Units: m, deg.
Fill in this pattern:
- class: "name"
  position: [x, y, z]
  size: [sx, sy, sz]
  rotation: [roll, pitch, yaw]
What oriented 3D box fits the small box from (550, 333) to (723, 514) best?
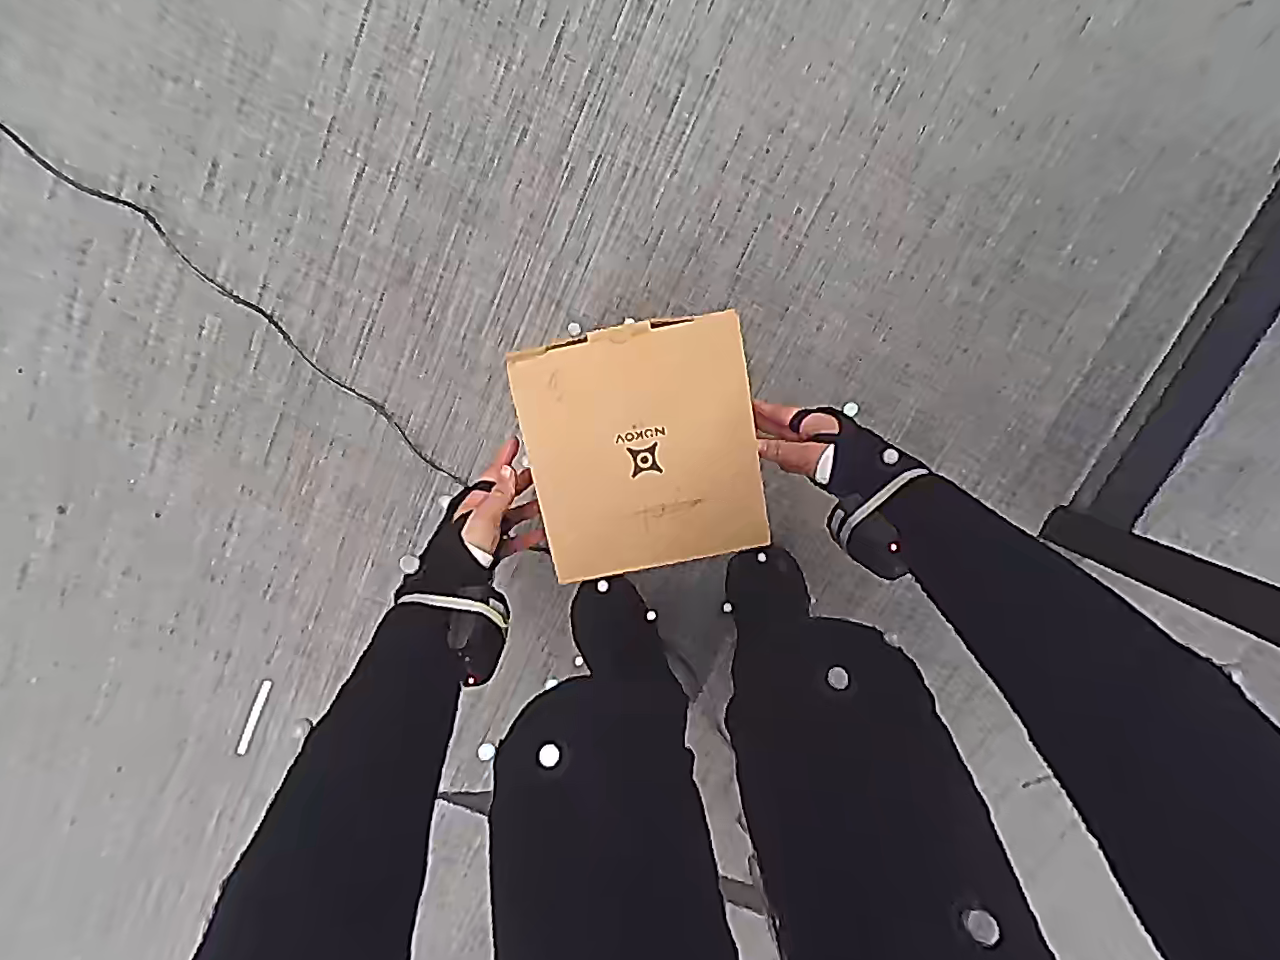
- class: "small box"
  position: [-0.002, -0.074, 0.632]
  size: [0.168, 0.176, 0.179]
  rotation: [-7, 103, 0]
